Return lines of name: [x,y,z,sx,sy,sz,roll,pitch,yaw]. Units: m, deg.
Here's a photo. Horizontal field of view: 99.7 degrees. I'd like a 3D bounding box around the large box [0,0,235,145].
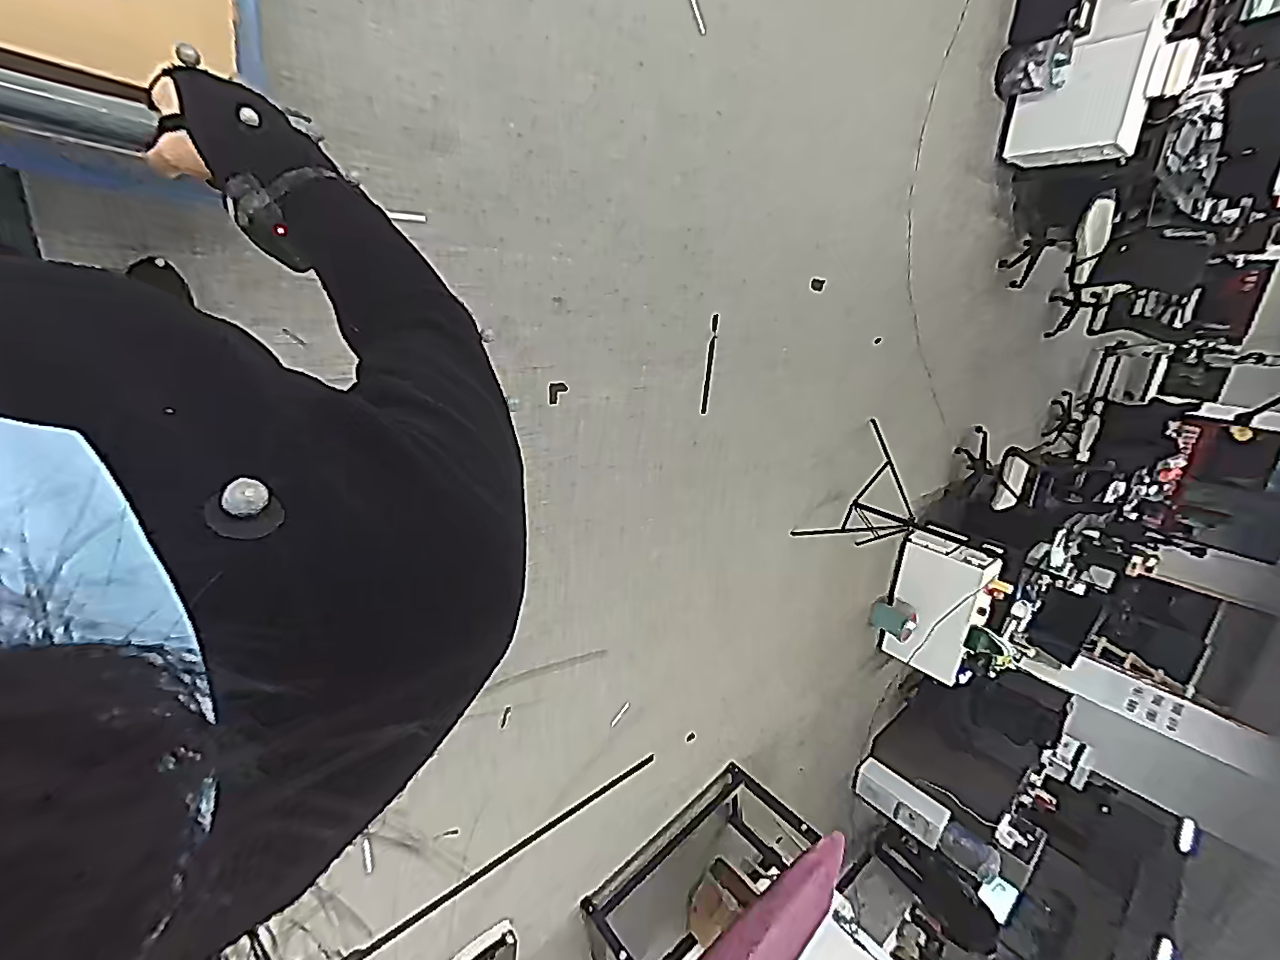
large box: [-0.782,-0.663,0.667,0.408,0.320,0.320,-7,113,-42]
